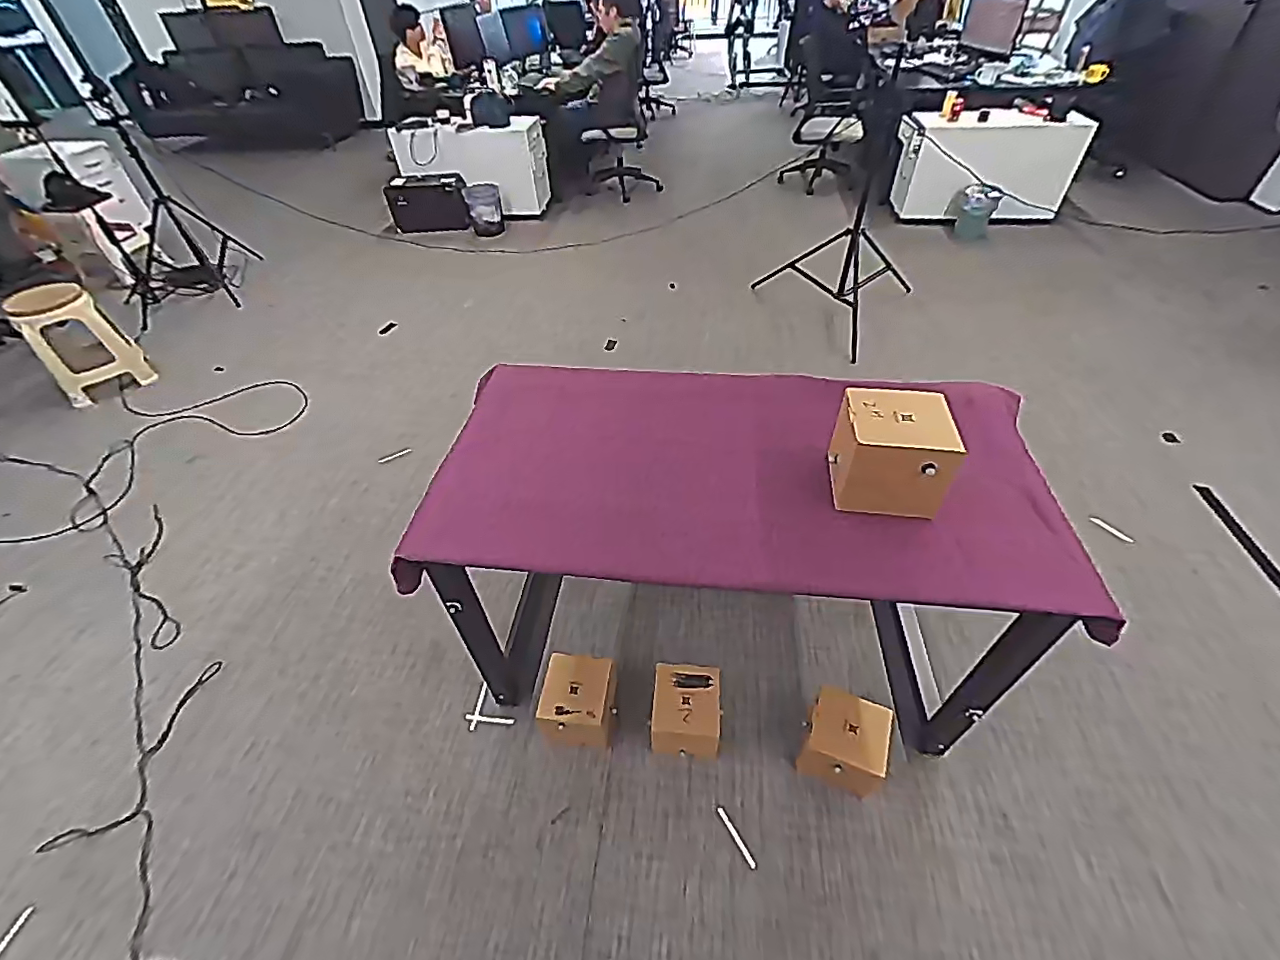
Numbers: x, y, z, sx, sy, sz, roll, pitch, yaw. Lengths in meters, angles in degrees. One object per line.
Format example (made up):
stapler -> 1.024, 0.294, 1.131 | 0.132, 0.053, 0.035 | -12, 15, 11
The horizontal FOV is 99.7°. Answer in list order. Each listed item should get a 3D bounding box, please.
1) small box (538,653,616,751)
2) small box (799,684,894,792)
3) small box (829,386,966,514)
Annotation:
small box -> -0.158, 0.586, 1.430 | 0.168, 0.176, 0.179 | 5, 44, 8
small box -> 0.507, 0.643, 1.339 | 0.179, 0.176, 0.168 | 15, 48, 19
small box -> 0.463, -0.054, 1.004 | 0.179, 0.176, 0.168 | 4, 44, 8
